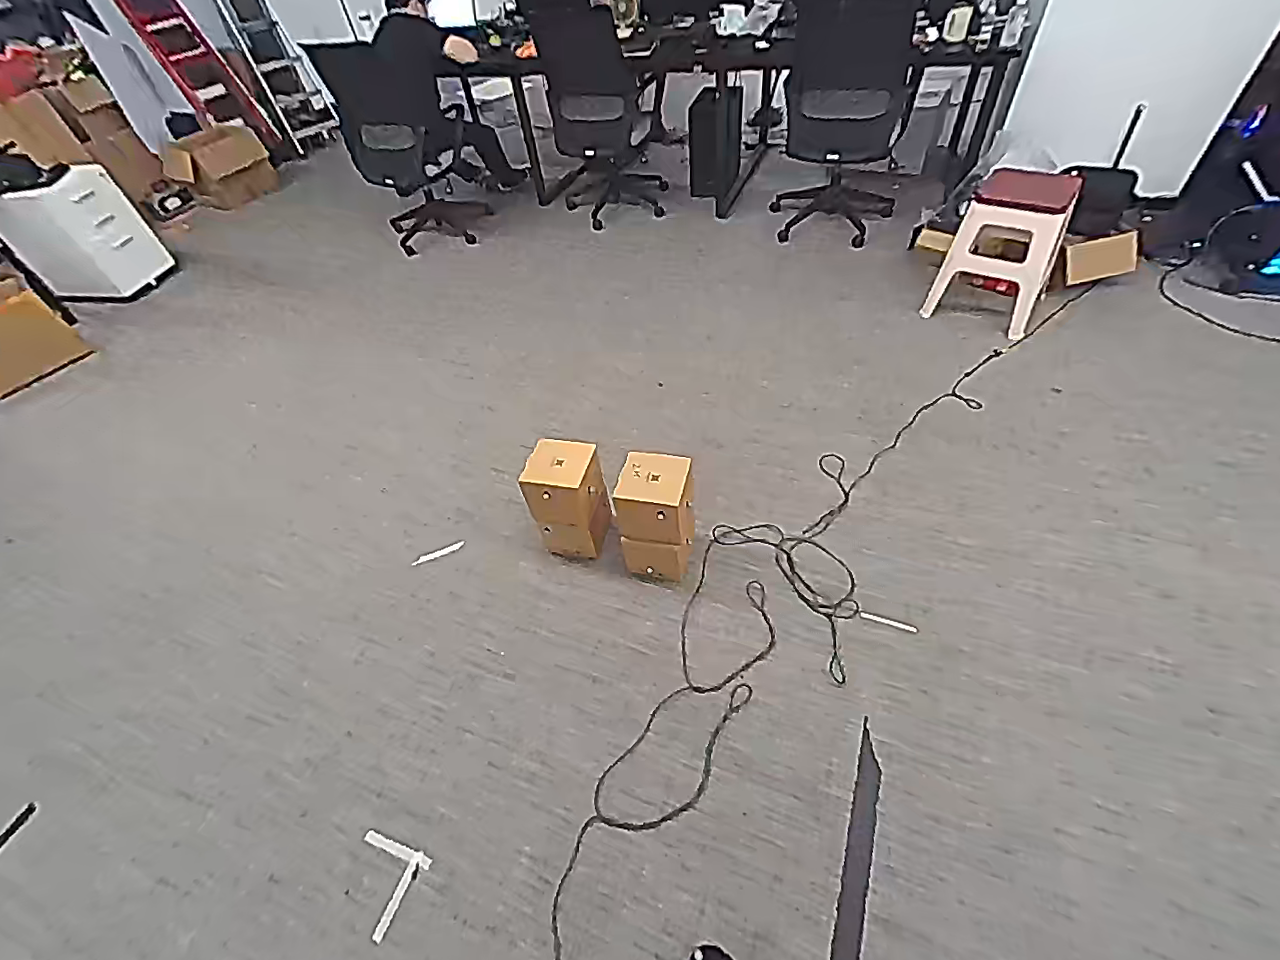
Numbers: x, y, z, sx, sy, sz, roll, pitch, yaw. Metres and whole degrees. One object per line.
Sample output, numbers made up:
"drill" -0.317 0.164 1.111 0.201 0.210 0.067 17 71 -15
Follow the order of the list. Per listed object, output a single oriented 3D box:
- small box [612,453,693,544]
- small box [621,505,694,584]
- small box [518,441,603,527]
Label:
"small box" 0.041 0.053 1.439 0.179 0.176 0.168 7 49 16
"small box" 0.057 0.171 1.555 0.168 0.176 0.179 9 51 17
"small box" -0.213 0.014 1.517 0.179 0.176 0.168 6 50 14
